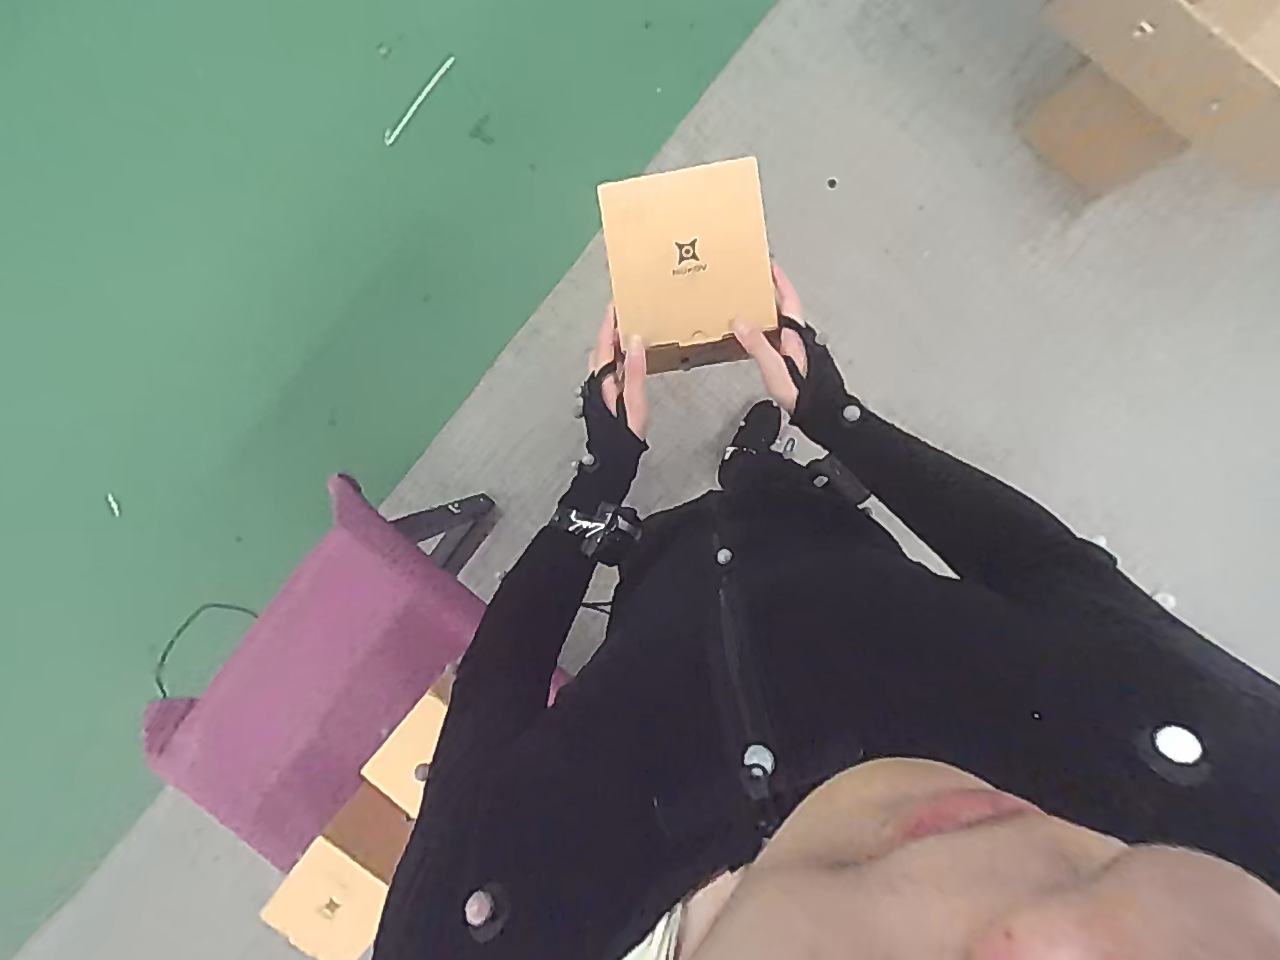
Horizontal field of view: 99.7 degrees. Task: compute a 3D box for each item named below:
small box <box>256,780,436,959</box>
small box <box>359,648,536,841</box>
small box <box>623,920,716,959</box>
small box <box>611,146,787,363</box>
[{"bbox_3d":[-0.465,0.641,0.893,0.168,0.176,0.179,38,94,0],"label":"small box"},{"bbox_3d":[-0.292,0.408,0.863,0.168,0.176,0.179,40,97,-1],"label":"small box"},{"bbox_3d":[0.043,0.885,0.874,0.168,0.176,0.179,40,96,-1],"label":"small box"},{"bbox_3d":[0.062,-0.244,0.627,0.168,0.176,0.179,-7,94,3],"label":"small box"}]
